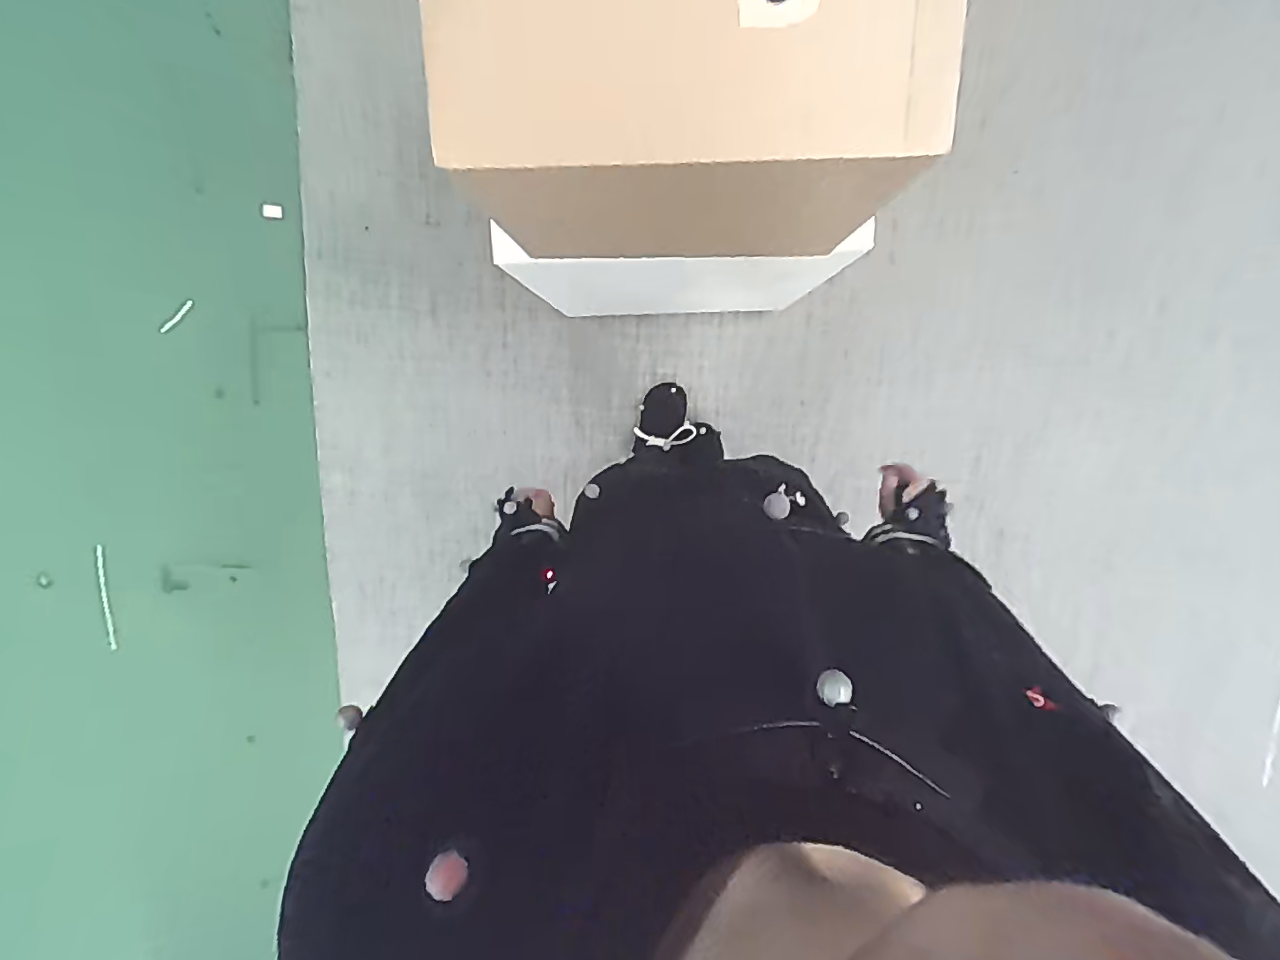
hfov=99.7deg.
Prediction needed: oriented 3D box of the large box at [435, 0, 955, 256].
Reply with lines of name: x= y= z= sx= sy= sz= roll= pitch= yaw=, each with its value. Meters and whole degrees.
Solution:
large box: x=0.041 y=-0.433 z=0.551 sx=0.408 sy=0.320 sz=0.320 roll=0 pitch=100 yaw=2
